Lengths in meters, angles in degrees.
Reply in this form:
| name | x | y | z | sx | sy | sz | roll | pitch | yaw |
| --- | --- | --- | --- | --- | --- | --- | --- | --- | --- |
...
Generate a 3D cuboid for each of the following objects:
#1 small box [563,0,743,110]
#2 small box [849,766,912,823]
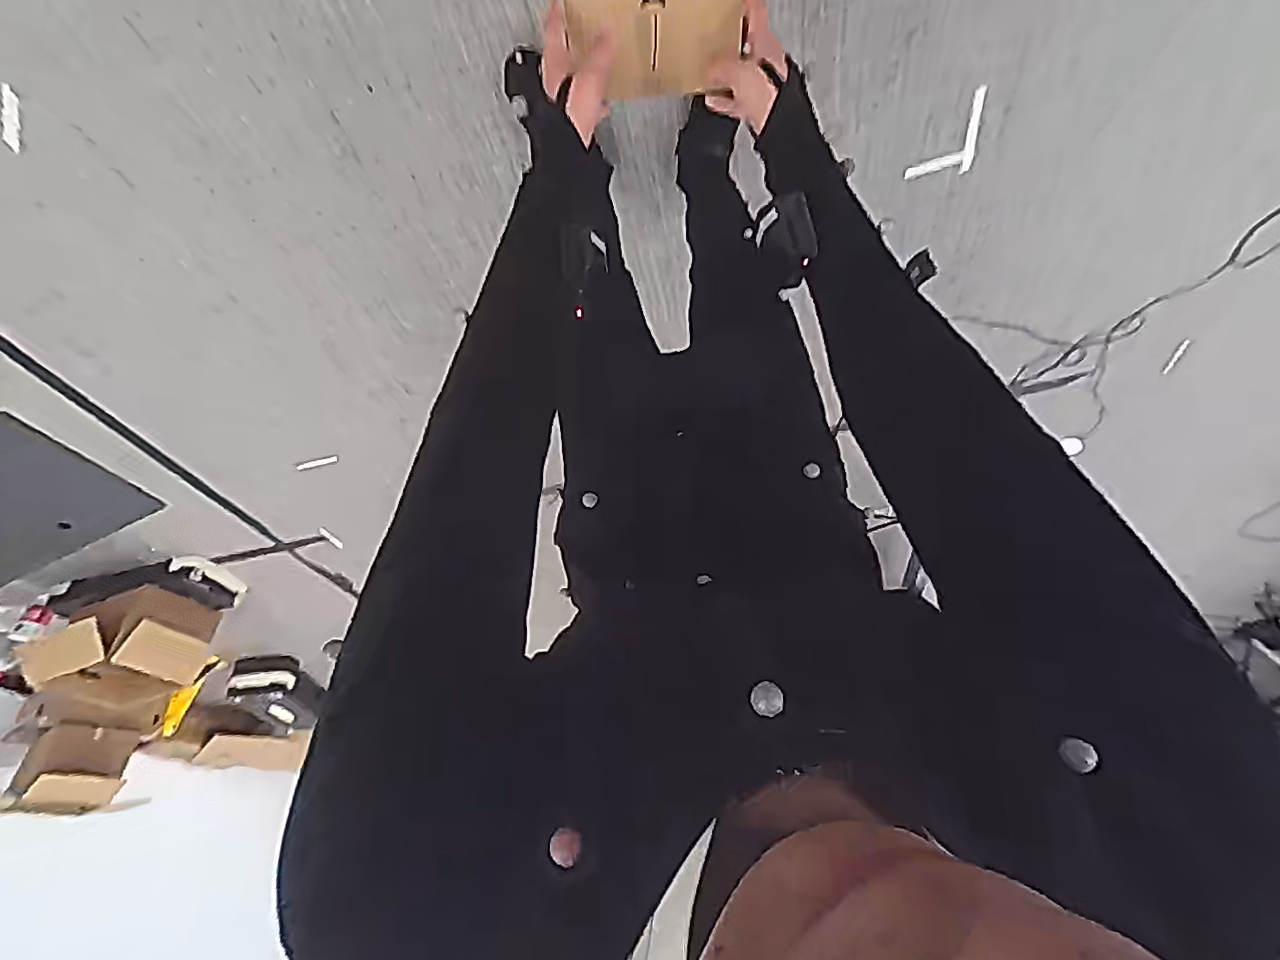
| name | x | y | z | sx | sy | sz | roll | pitch | yaw |
| --- | --- | --- | --- | --- | --- | --- | --- | --- | --- |
| small box | 0.006 | -0.490 | 0.535 | 0.168 | 0.176 | 0.179 | -5 | 134 | 0 |
| small box | 0.958 | 1.258 | 2.166 | 0.179 | 0.176 | 0.168 | -14 | 141 | 8 |
